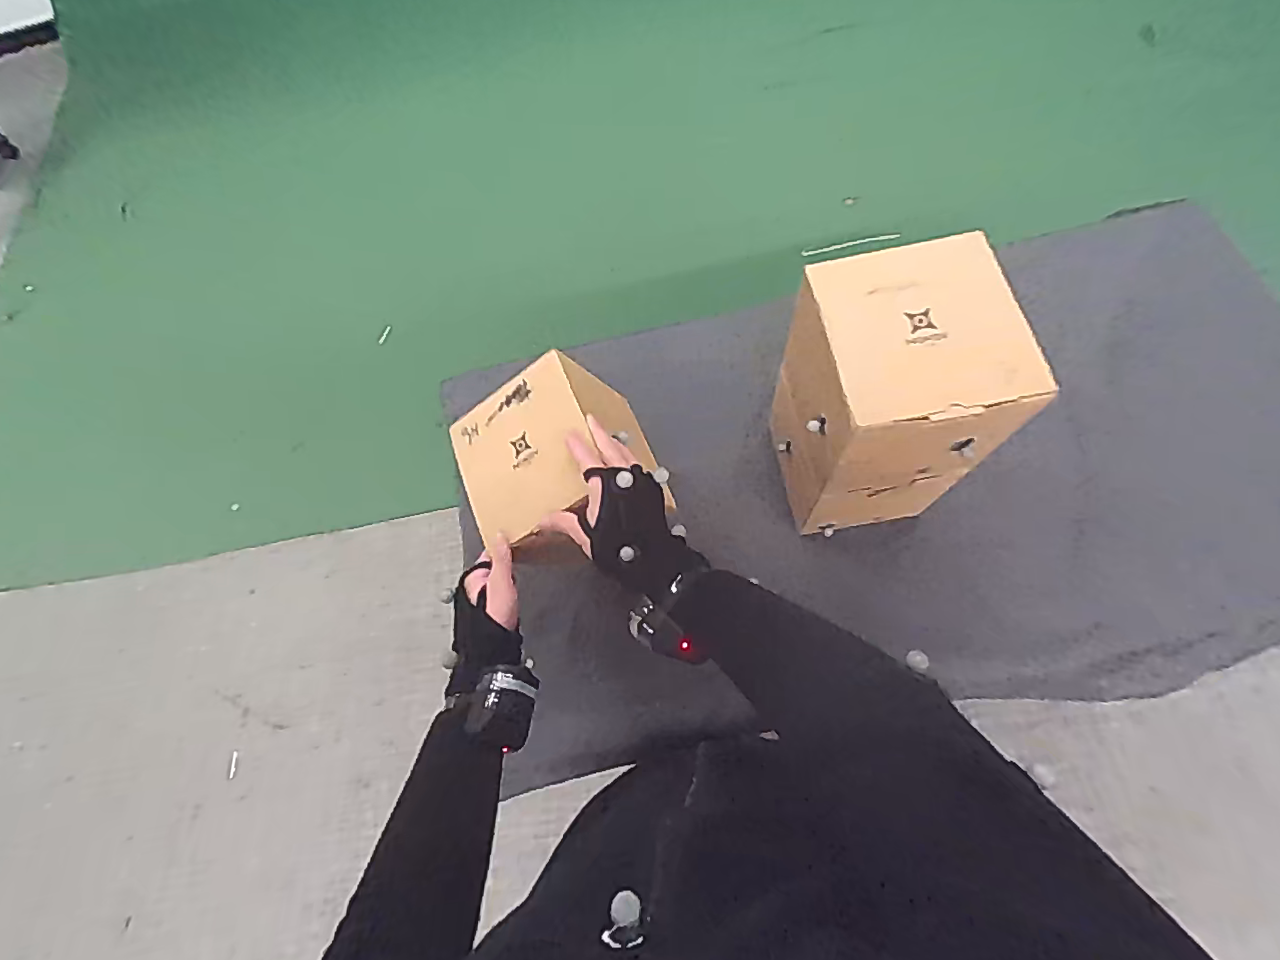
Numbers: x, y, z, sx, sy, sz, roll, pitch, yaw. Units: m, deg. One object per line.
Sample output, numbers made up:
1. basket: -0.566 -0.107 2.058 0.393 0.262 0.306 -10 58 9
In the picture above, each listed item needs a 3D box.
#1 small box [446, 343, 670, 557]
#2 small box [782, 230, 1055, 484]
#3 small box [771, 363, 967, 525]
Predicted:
1. small box: -0.088 -0.021 0.635 0.168 0.176 0.179 -31 68 16
2. small box: 0.250 -0.106 0.538 0.168 0.176 0.179 -10 68 3
3. small box: 0.272 -0.050 0.688 0.168 0.176 0.179 -11 68 4
